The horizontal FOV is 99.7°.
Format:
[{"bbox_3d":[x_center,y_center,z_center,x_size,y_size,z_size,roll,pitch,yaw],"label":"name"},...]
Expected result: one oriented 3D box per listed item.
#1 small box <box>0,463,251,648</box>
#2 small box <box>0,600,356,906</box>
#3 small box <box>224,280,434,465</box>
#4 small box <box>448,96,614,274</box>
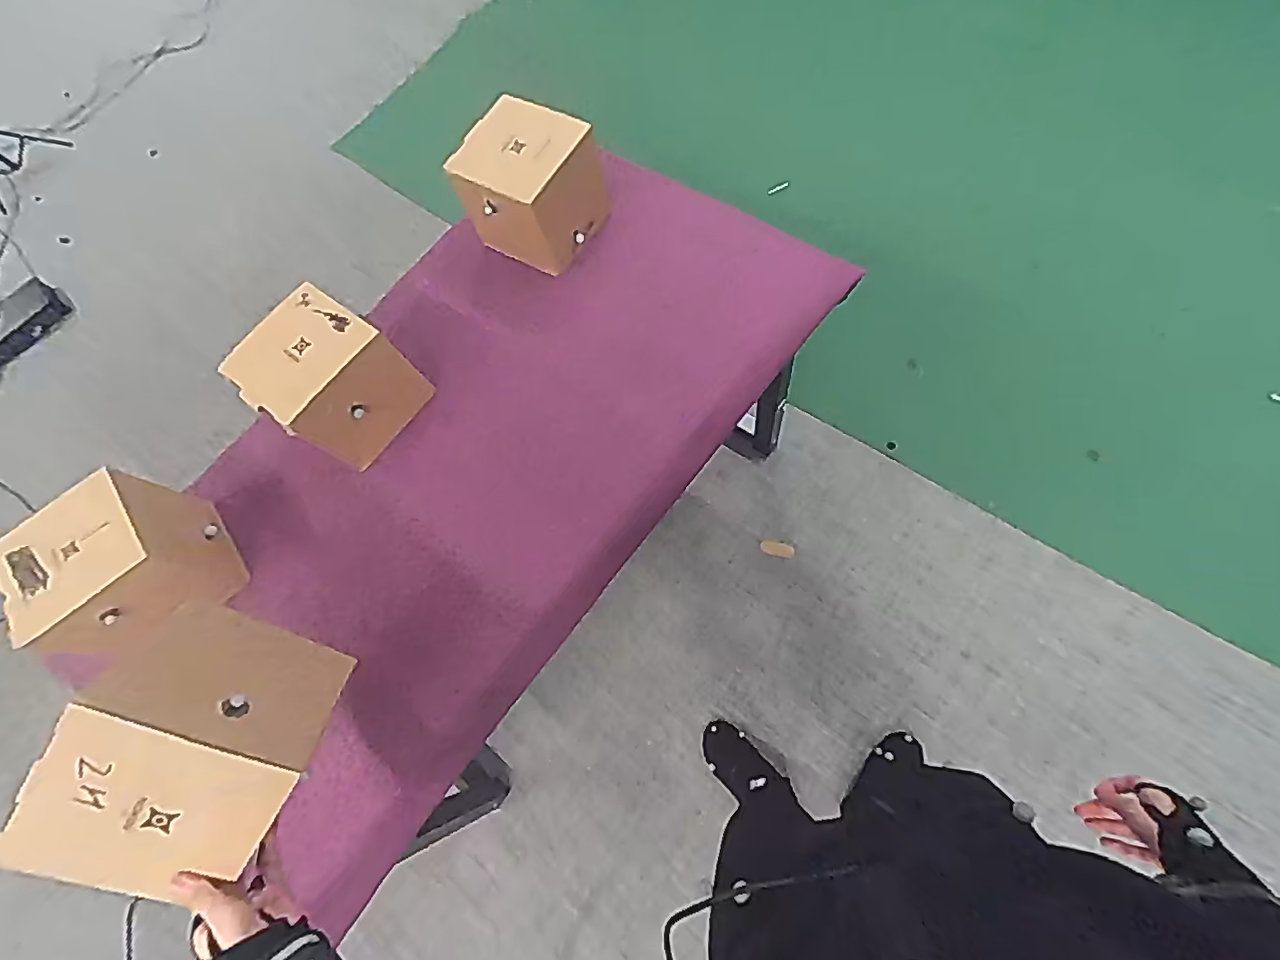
[{"bbox_3d":[-0.699,0.114,0.745,0.179,0.176,0.168,-39,70,-8],"label":"small box"},{"bbox_3d":[-0.404,0.242,0.509,0.179,0.176,0.168,32,99,-19],"label":"small box"},{"bbox_3d":[-0.448,-0.150,0.807,0.168,0.176,0.179,35,79,18],"label":"small box"},{"bbox_3d":[-0.167,-0.472,0.884,0.179,0.176,0.168,30,79,17],"label":"small box"}]
